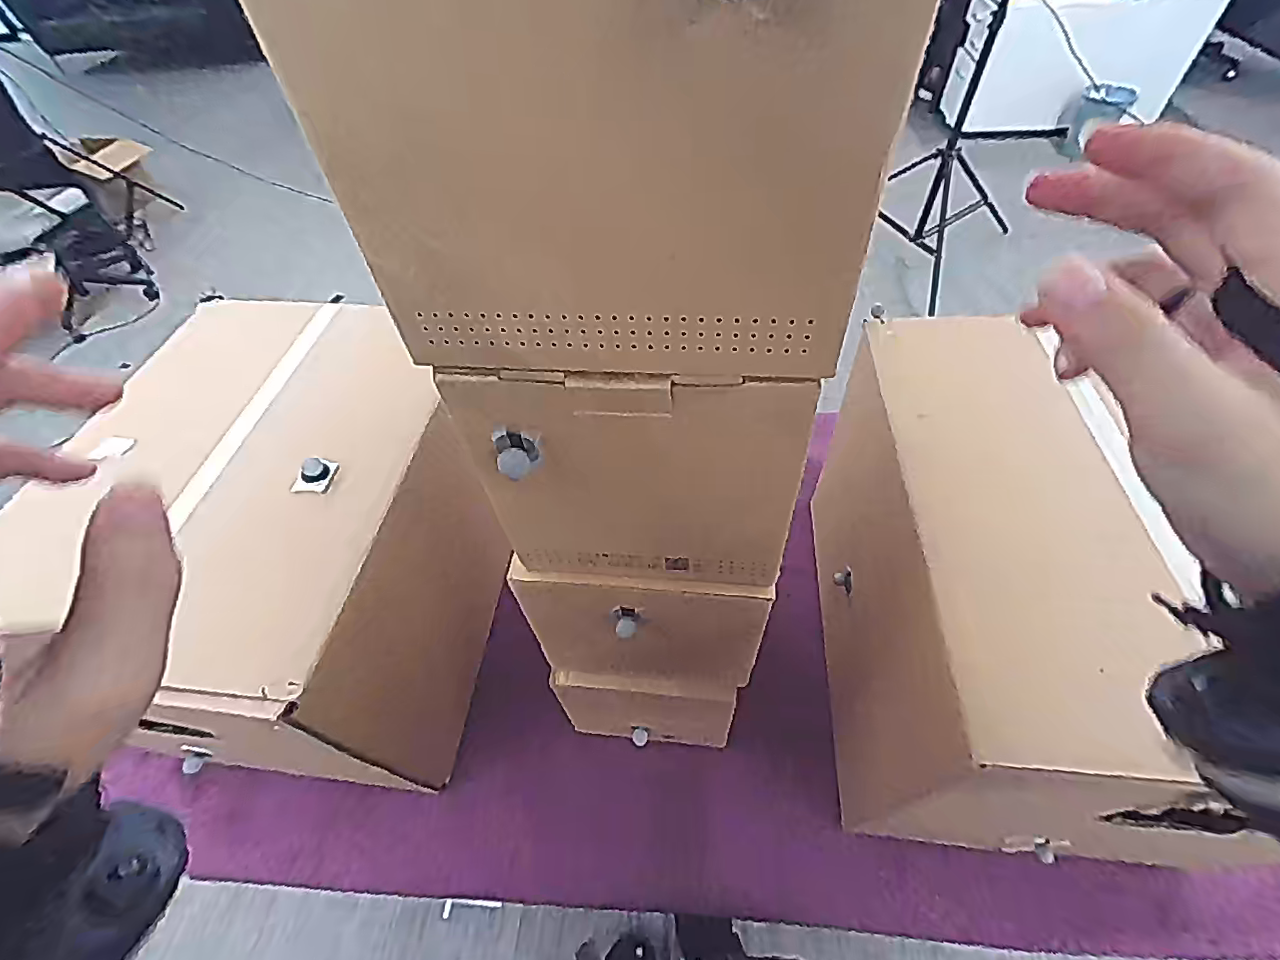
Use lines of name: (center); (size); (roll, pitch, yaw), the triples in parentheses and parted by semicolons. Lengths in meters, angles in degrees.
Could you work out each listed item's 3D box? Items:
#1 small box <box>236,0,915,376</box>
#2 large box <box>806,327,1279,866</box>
small box: (-0.007, -0.155, 0.209); (0.179, 0.176, 0.168); (3, 50, 8)
large box: (0.357, 0.104, 0.517); (0.320, 0.320, 0.408); (2, 51, 6)
